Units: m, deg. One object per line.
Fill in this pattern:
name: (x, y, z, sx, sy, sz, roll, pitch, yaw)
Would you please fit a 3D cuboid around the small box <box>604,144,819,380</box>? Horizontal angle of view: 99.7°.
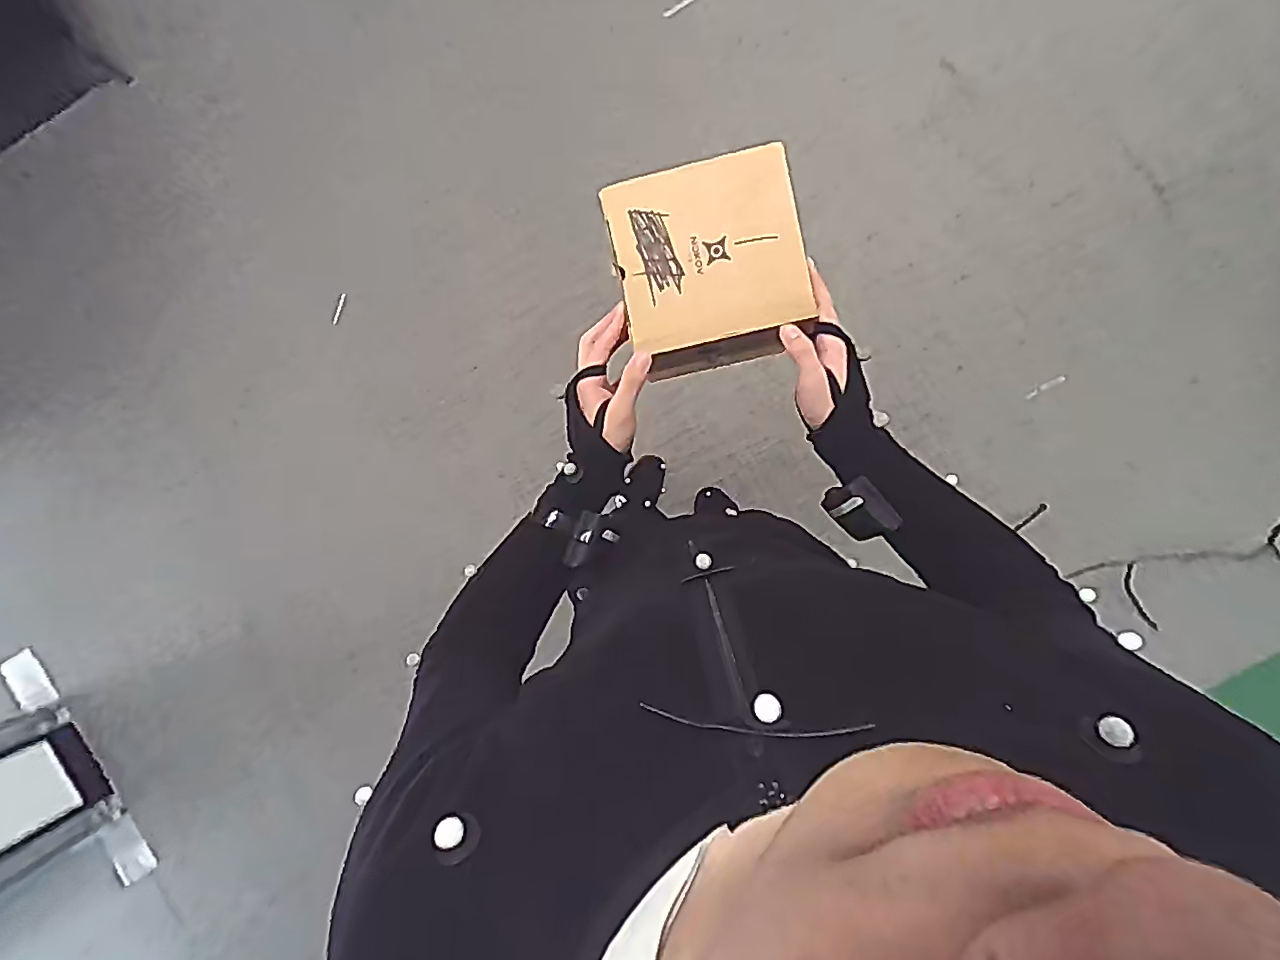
small box: (0.073, -0.212, 0.579, 0.179, 0.176, 0.168, -11, 91, 5)
